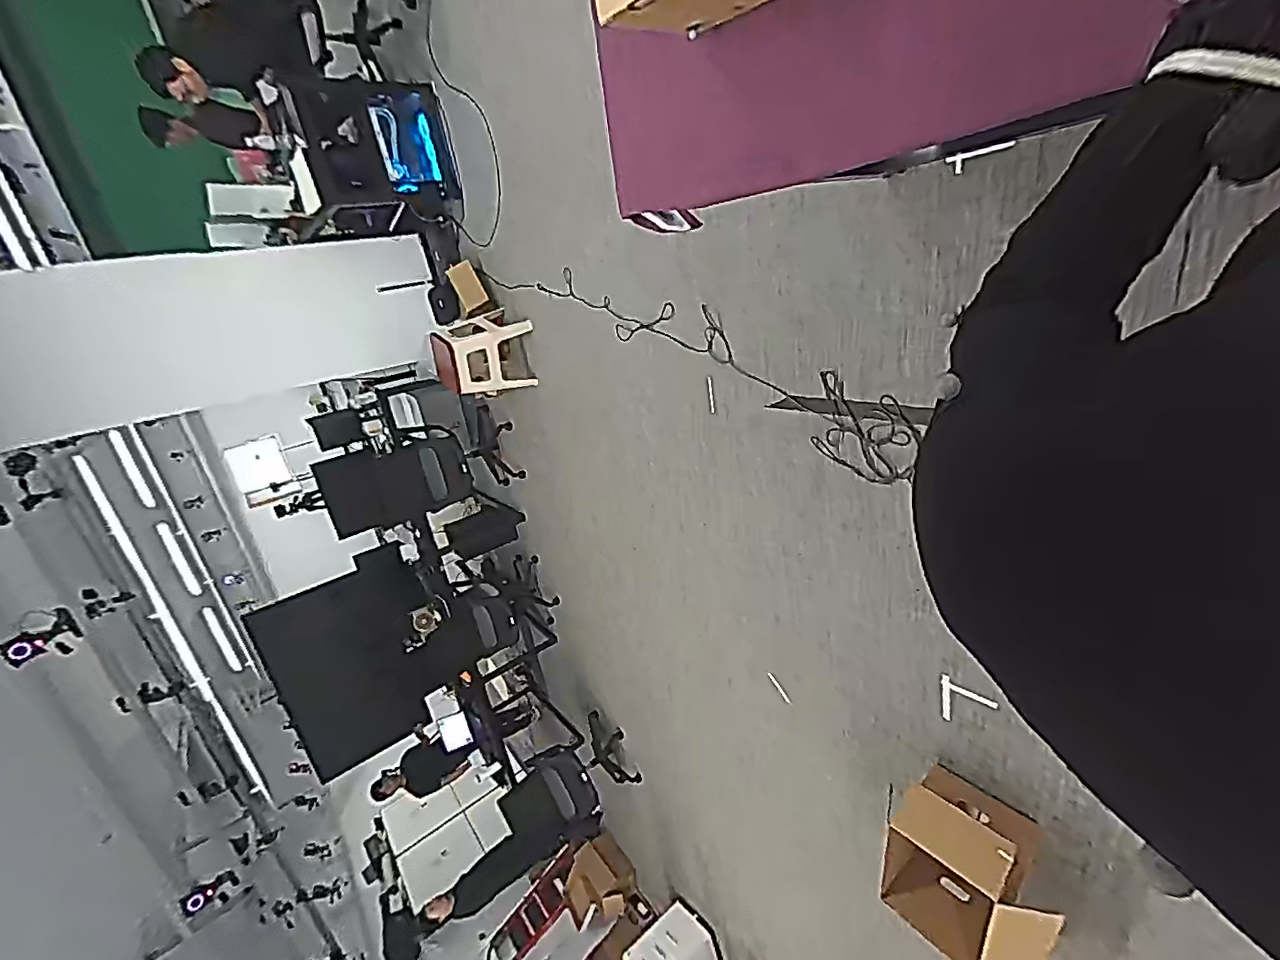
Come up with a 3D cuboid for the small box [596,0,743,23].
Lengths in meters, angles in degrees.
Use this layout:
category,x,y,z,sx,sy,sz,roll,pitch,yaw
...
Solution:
category,x,y,z,sx,sy,sz,roll,pitch,yaw
small box,0.051,-0.667,0.632,0.168,0.176,0.179,24,129,47
